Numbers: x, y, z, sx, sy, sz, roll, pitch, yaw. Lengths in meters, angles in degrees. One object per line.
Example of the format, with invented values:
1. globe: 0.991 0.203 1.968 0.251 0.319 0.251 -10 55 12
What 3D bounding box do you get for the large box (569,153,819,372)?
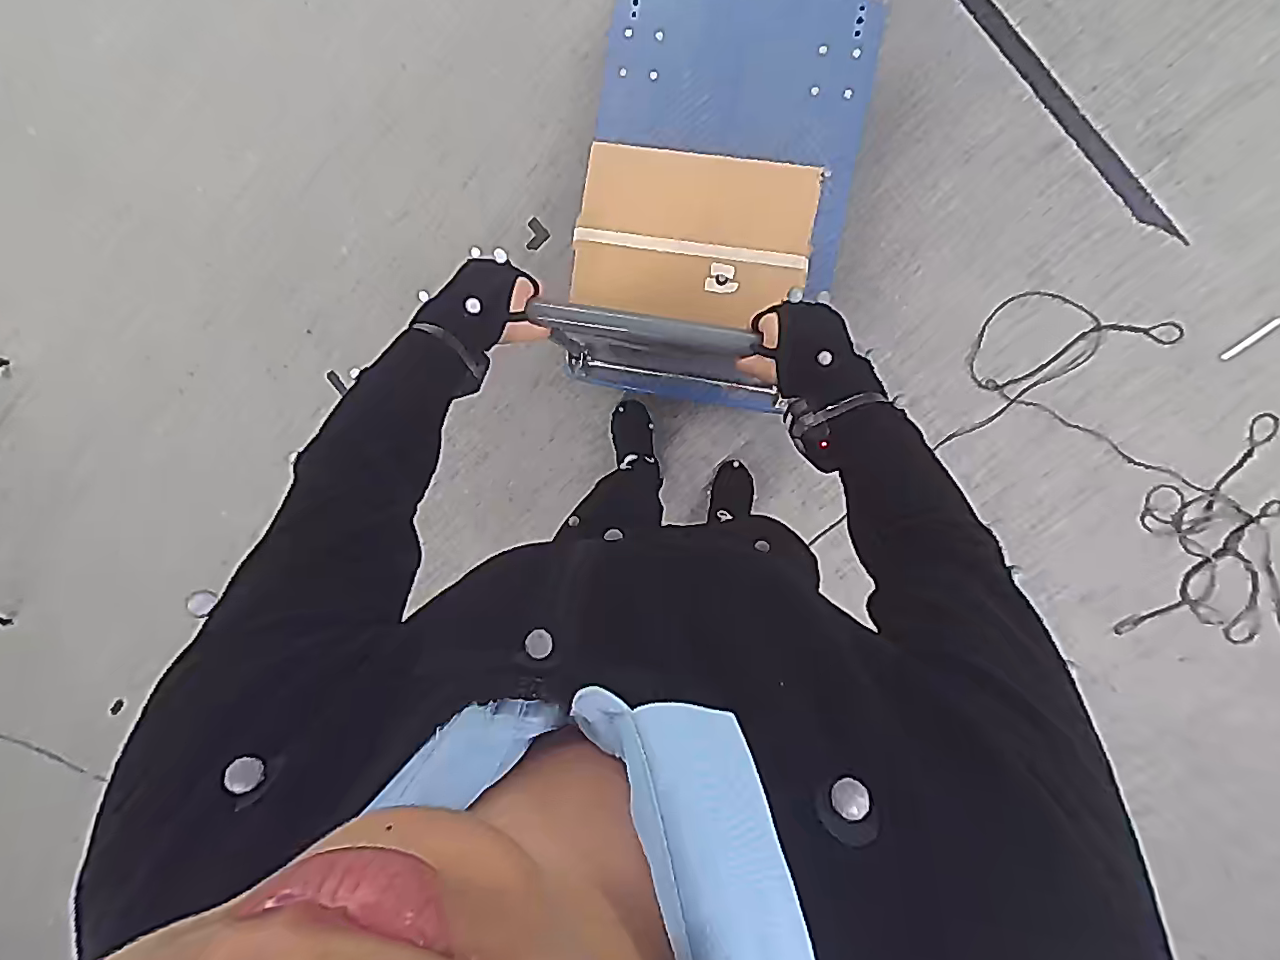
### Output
1. large box: 0.102 -0.411 1.096 0.408 0.320 0.320 11 99 6
